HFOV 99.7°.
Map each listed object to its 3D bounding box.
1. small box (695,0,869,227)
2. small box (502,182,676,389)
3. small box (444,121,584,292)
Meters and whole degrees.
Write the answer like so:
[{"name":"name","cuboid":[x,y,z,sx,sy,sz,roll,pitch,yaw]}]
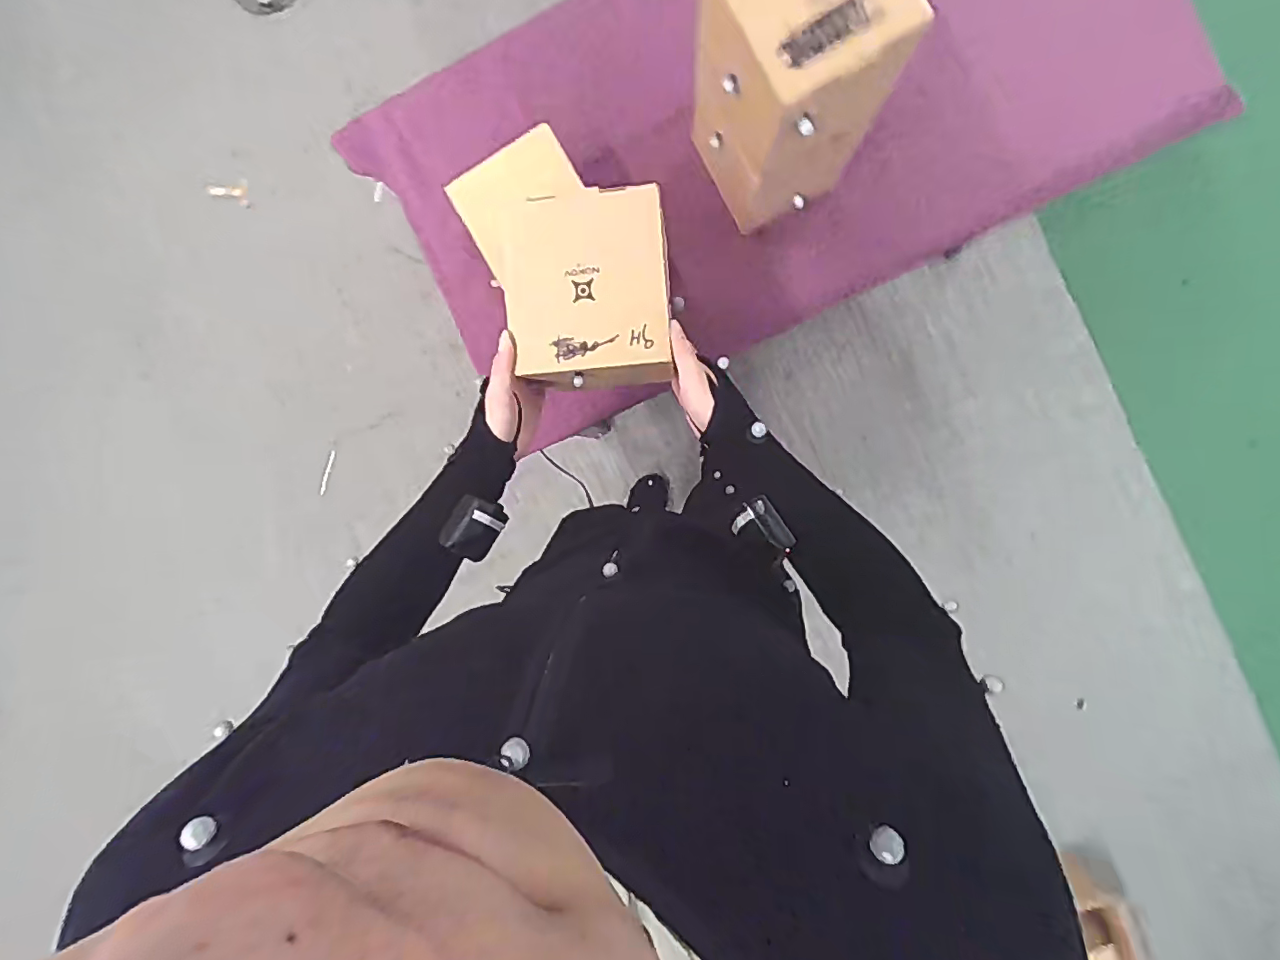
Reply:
[{"name":"small box","cuboid":[0.186,-0.504,0.770,0.168,0.176,0.179,-28,91,5]},{"name":"small box","cuboid":[-0.046,-0.203,0.612,0.168,0.176,0.179,-3,93,6]},{"name":"small box","cuboid":[-0.151,-0.367,0.801,0.168,0.176,0.179,-31,91,4]}]
